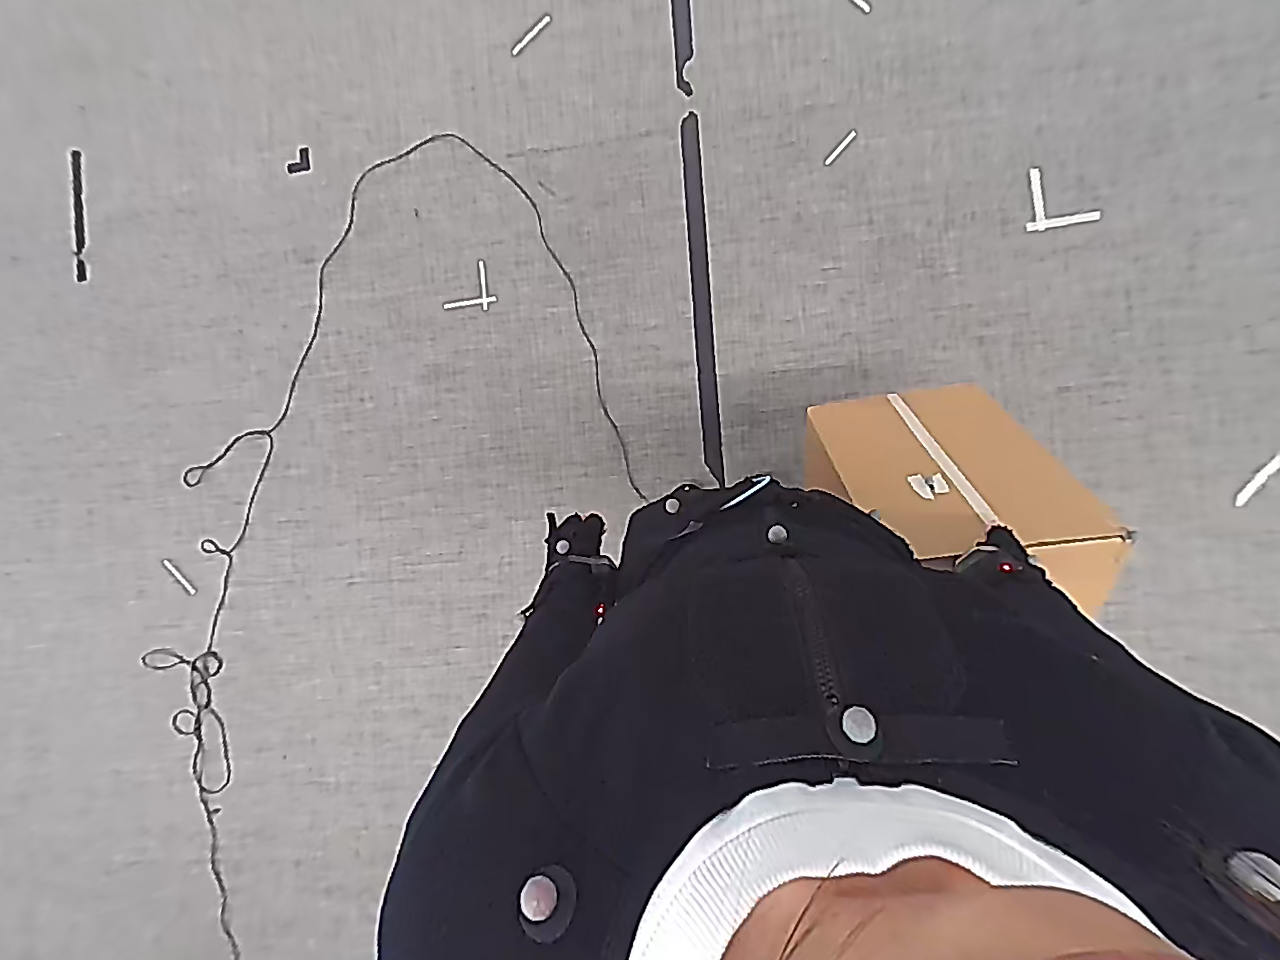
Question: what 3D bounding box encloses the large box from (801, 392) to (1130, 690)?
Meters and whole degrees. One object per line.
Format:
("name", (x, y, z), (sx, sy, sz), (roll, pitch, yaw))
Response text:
("large box", (0.491, 0.093, 0.946), (0.320, 0.408, 0.320), (-8, 128, 5))
